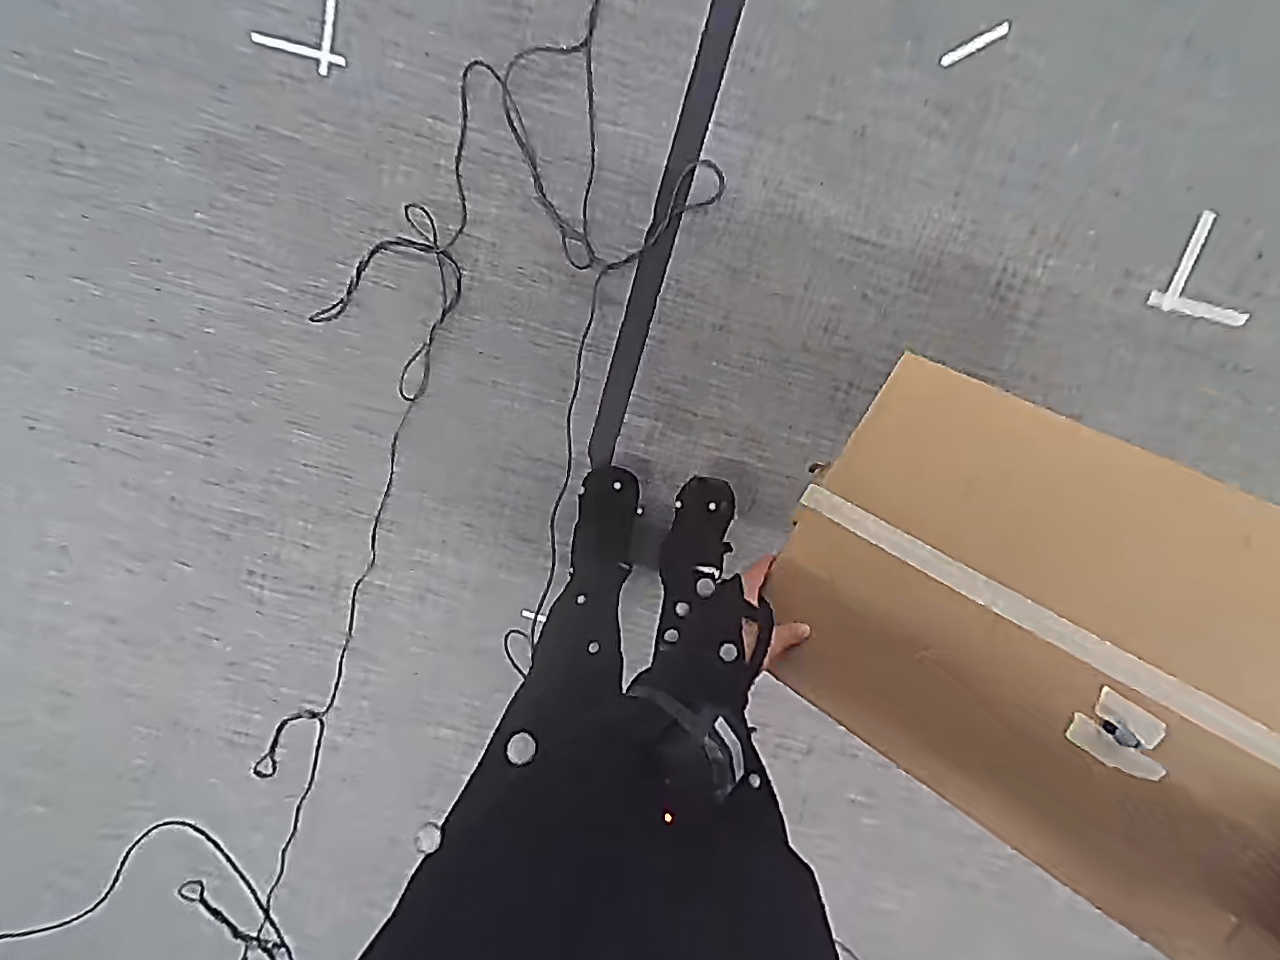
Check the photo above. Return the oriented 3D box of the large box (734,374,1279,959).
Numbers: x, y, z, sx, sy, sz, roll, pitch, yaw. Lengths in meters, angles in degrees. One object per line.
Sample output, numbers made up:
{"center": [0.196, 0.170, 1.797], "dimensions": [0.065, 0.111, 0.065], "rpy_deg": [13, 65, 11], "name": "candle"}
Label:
{"center": [0.362, 0.150, 0.566], "dimensions": [0.408, 0.320, 0.320], "rpy_deg": [31, 90, 21], "name": "large box"}
